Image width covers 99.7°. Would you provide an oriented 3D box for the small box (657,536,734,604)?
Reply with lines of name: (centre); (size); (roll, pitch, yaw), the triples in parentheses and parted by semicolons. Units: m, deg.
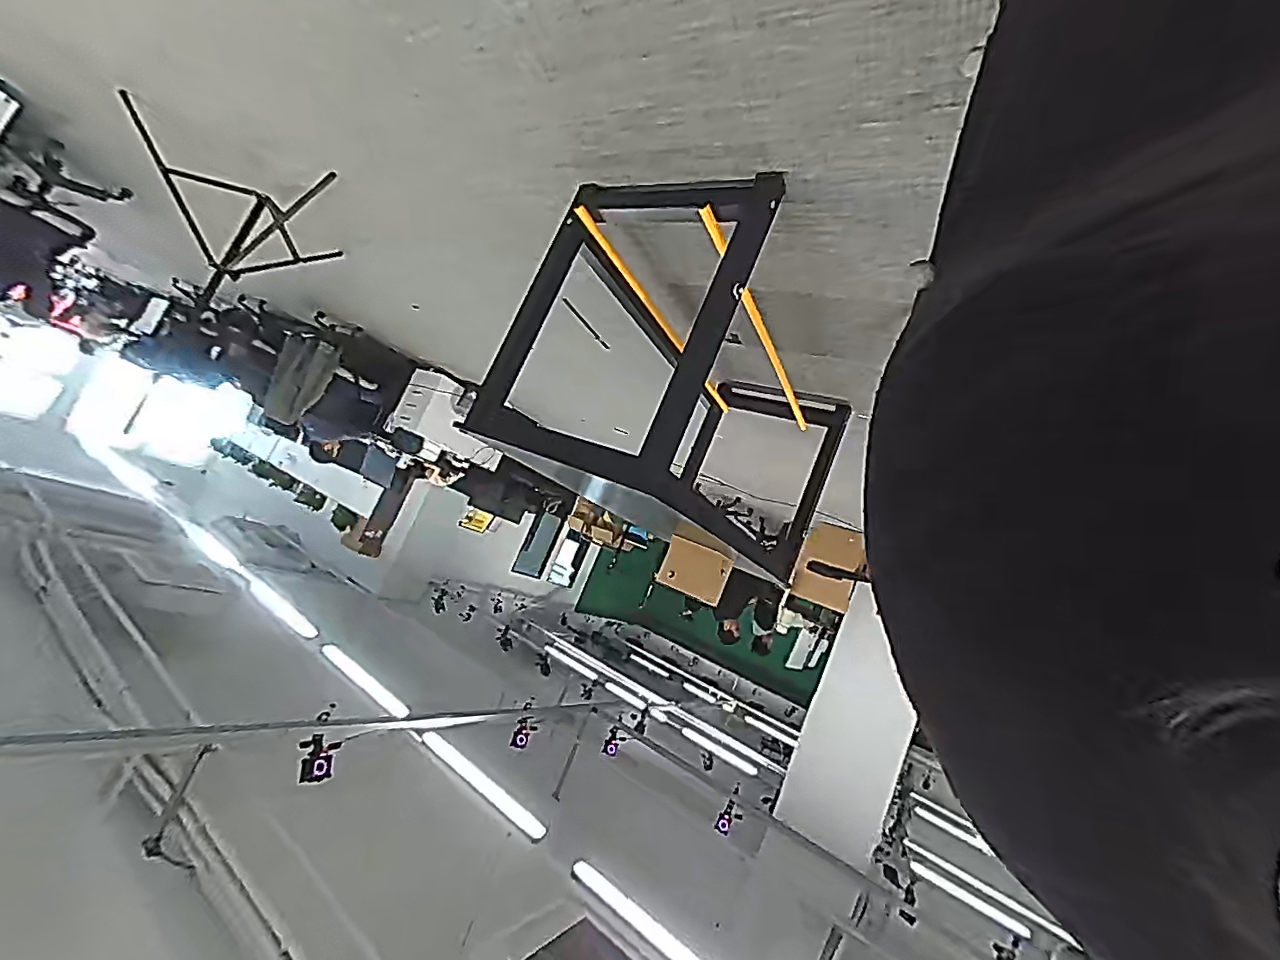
small box: (0.190, 0.295, 1.811); (0.179, 0.176, 0.168); (18, 171, 31)
